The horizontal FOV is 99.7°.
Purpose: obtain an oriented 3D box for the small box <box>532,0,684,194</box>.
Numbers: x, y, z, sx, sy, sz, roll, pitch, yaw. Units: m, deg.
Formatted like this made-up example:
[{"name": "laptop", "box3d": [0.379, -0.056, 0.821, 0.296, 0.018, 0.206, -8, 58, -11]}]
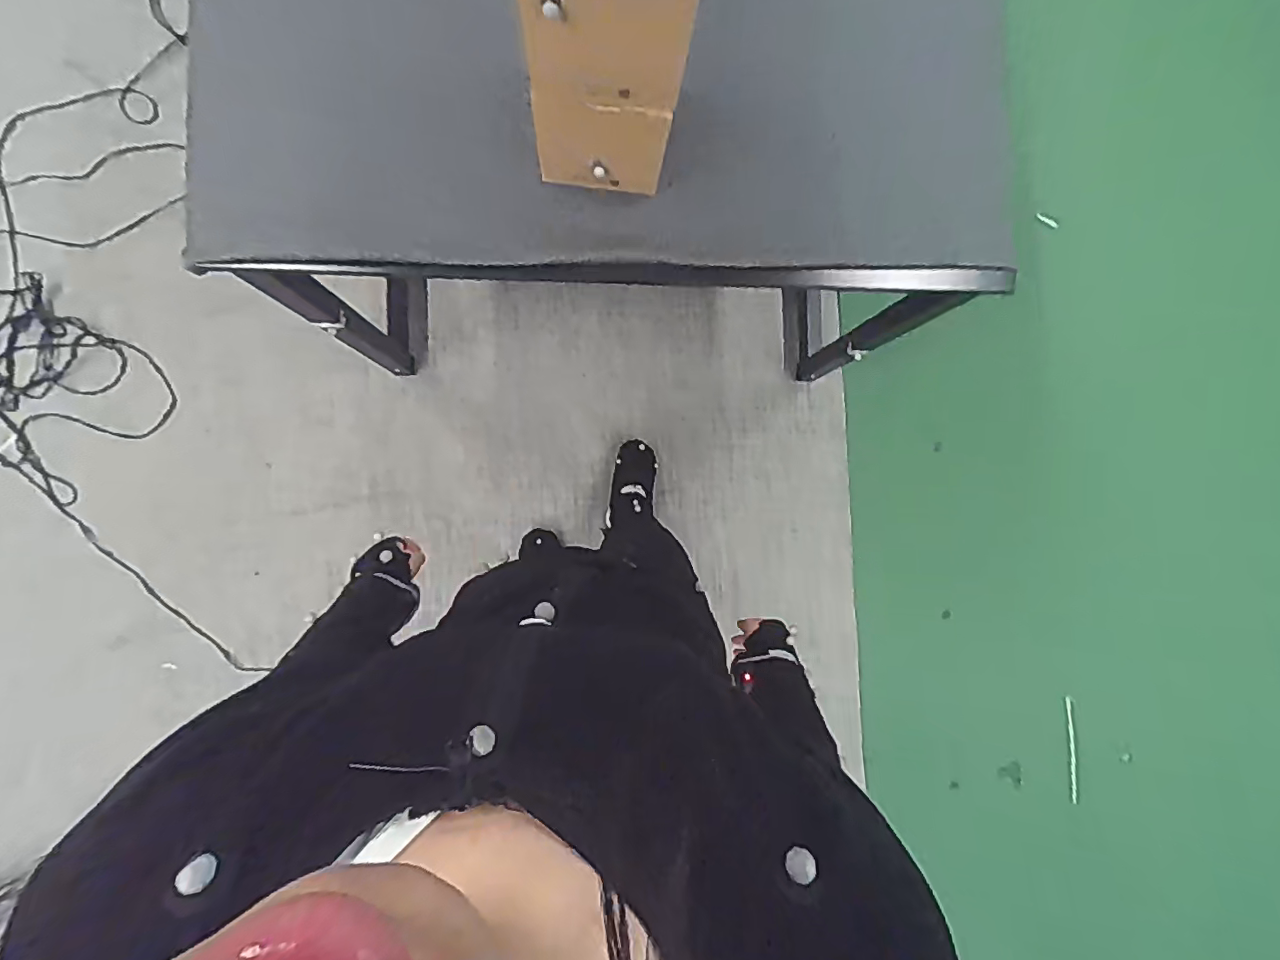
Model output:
[{"name": "small box", "box3d": [-0.043, -0.509, 0.699, 0.168, 0.176, 0.179, 5, 87, -5]}]
